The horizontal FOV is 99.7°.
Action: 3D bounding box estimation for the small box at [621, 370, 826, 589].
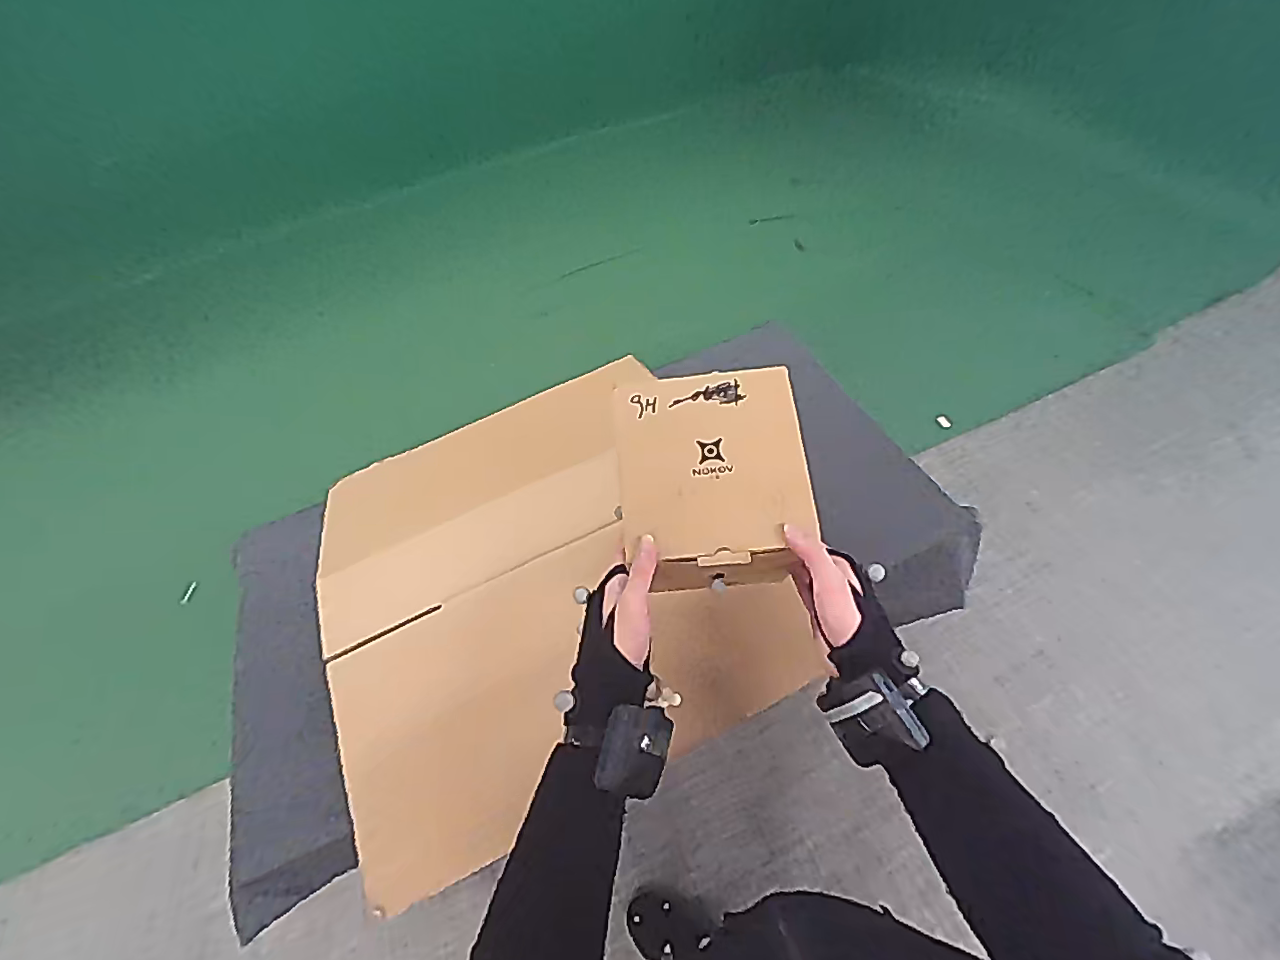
[{"bbox_3d":[0.078,0.013,0.563,0.168,0.176,0.179,-8,69,2],"label":"small box"}]
